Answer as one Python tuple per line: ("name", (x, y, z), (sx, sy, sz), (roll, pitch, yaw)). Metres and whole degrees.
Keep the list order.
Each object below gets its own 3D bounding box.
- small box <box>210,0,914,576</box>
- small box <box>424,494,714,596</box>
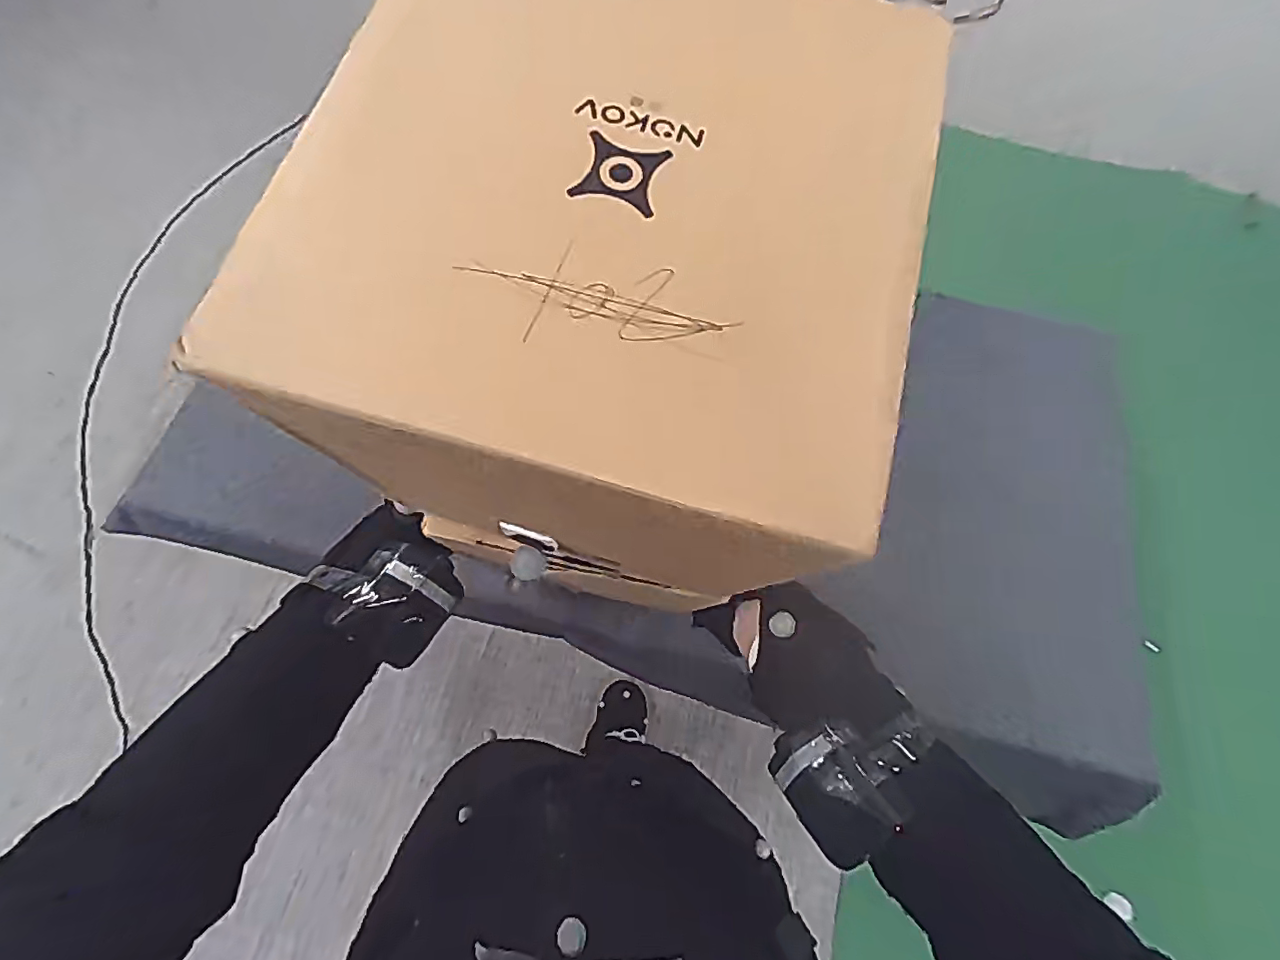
("small box", (-0.013, -0.068, 0.233), (0.168, 0.176, 0.179), (15, 74, 1))
("small box", (-0.024, -0.021, 0.387), (0.168, 0.176, 0.179), (13, 73, 0))
